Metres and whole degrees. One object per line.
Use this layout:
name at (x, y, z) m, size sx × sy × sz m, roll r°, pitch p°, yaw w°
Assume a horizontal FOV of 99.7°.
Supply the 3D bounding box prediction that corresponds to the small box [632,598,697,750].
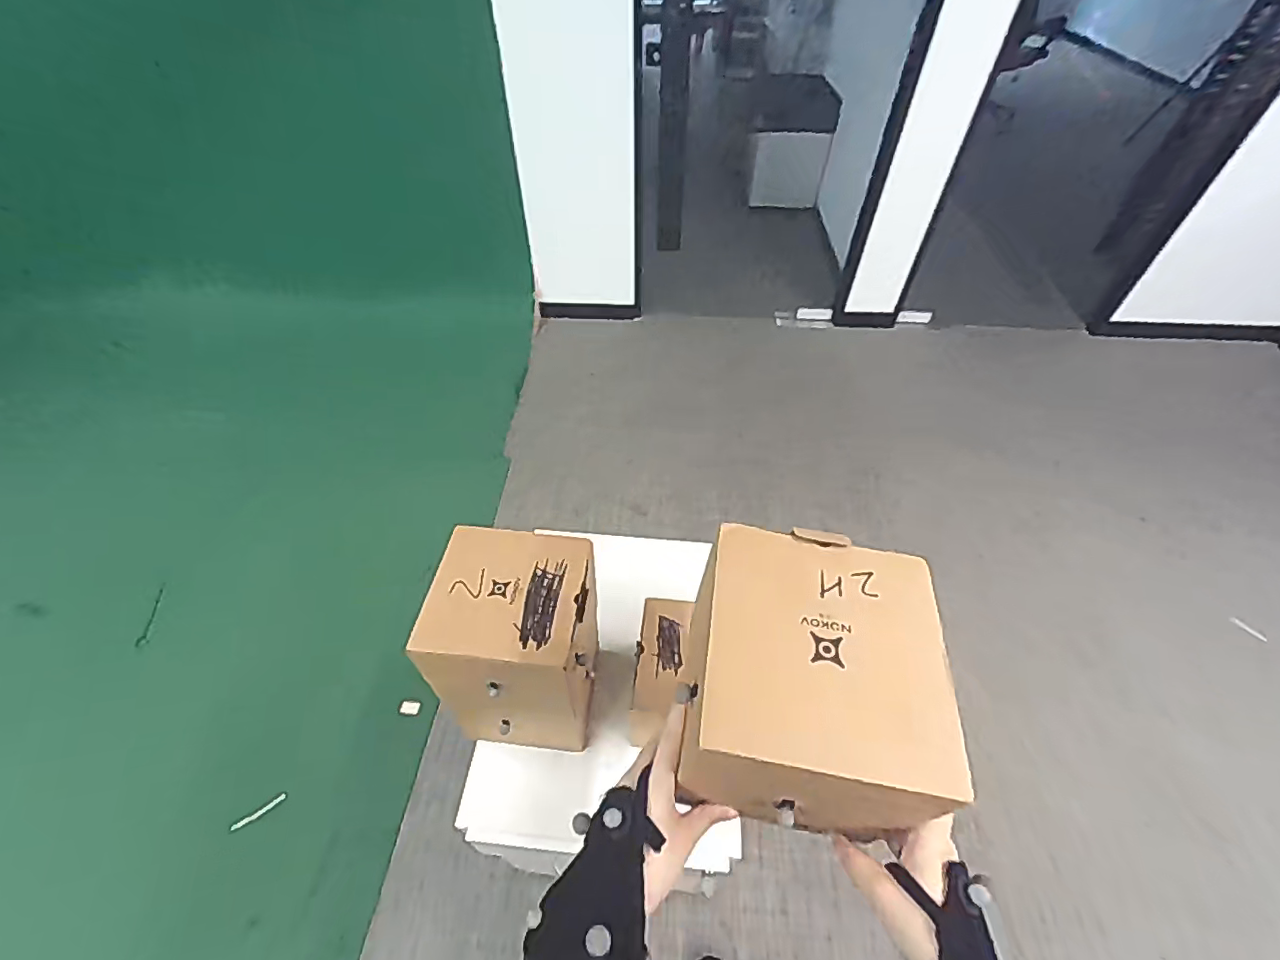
small box at (0.087, 0.297, 0.802) m, size 0.179 × 0.176 × 0.168 m, roll 6°, pitch 49°, yaw 5°

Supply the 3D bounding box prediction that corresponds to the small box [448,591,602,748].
small box at (-0.157, 0.285, 0.808) m, size 0.179 × 0.176 × 0.168 m, roll 6°, pitch 50°, yaw 3°

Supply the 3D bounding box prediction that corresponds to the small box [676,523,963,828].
small box at (0.127, 0.165, 0.448) m, size 0.168 × 0.176 × 0.179 m, roll 11°, pitch 49°, yaw 3°
